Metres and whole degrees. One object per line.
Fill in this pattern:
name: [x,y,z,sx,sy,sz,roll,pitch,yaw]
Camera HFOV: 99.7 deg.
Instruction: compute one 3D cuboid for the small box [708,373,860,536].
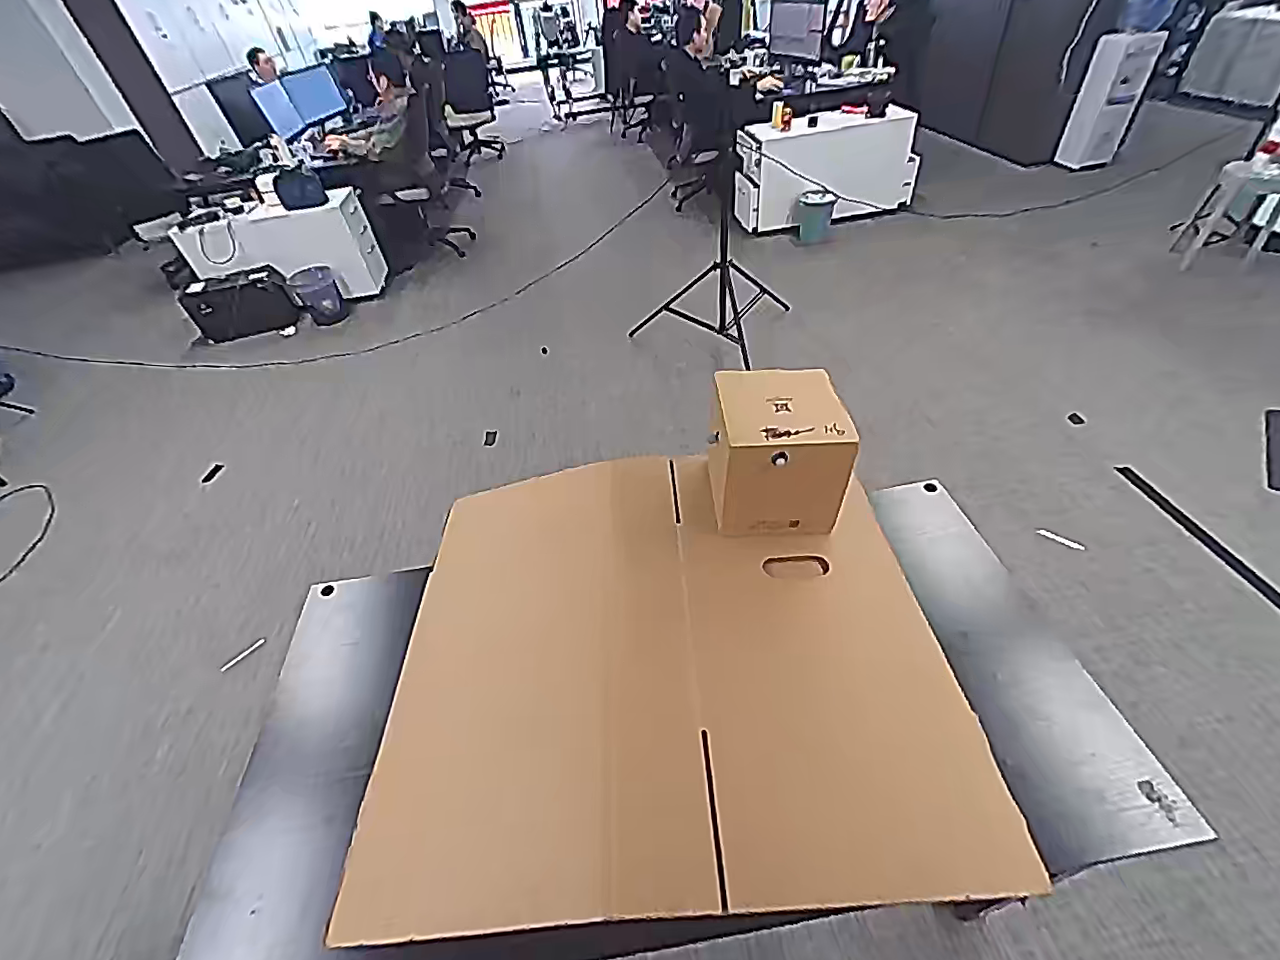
small box: [0.192,-0.038,0.783,0.168,0.176,0.179,-2,42,0]
